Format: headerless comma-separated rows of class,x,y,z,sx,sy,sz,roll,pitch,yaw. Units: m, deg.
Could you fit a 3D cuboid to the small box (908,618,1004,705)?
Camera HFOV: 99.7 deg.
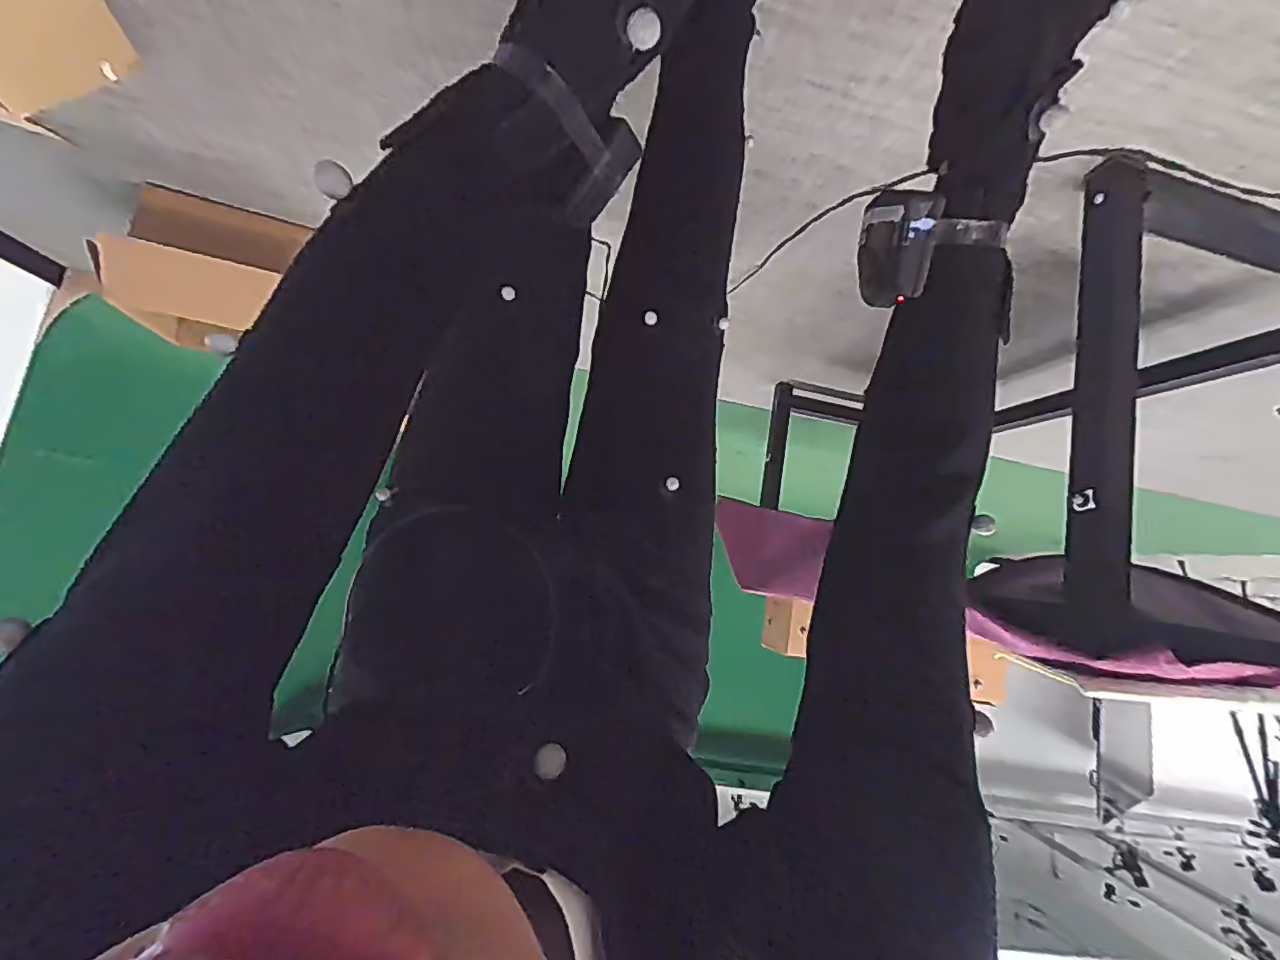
small box,0.779,0.450,1.365,0.179,0.176,0.168,11,171,-8
